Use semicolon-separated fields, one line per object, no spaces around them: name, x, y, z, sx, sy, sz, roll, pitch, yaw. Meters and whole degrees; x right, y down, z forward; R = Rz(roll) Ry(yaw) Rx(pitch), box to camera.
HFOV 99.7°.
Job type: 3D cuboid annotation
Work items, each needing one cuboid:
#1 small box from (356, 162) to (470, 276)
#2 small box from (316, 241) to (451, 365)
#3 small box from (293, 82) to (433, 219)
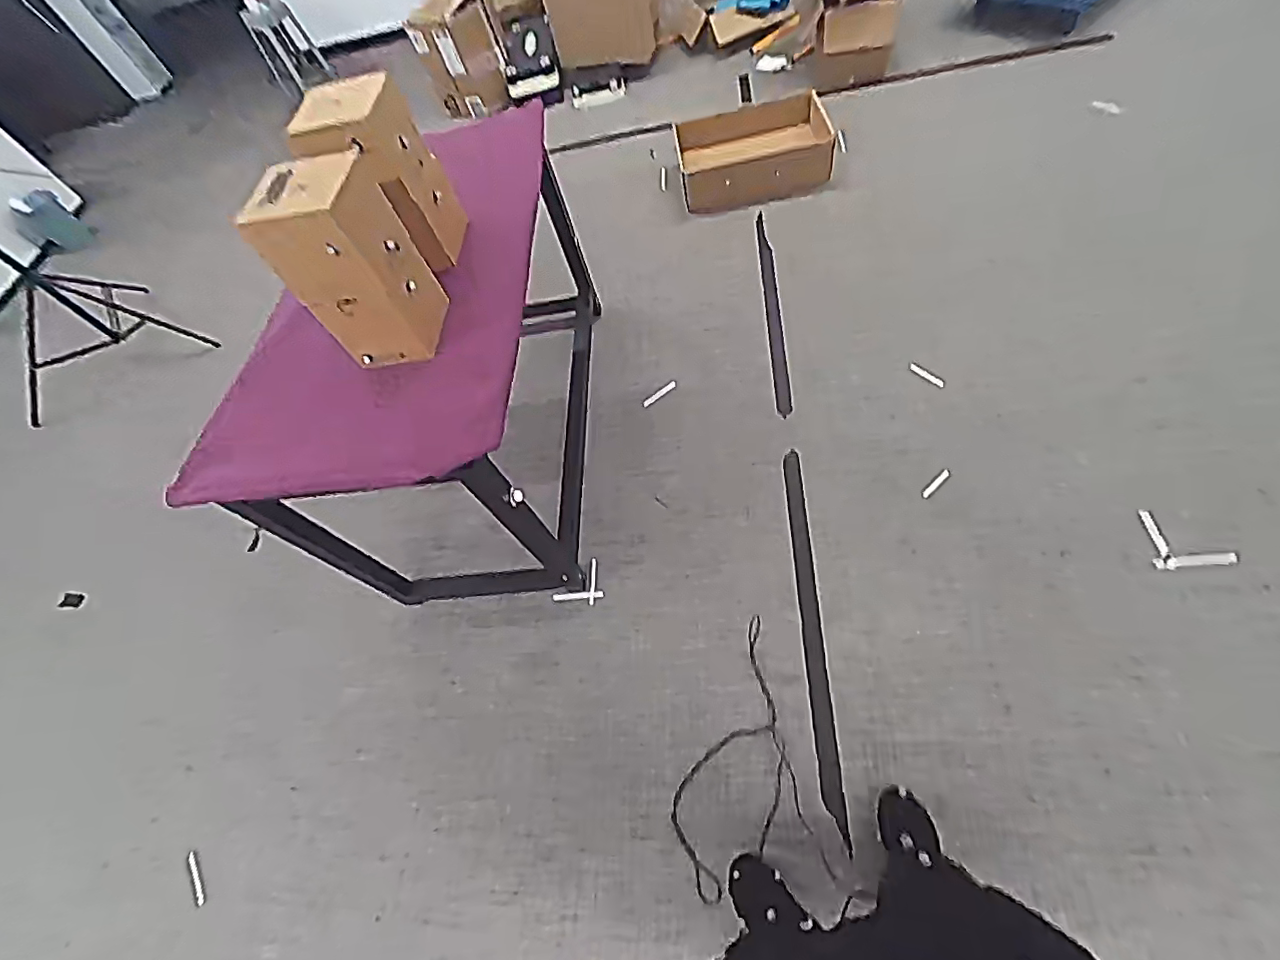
small box;-0.515;-0.595;1.254;0.168;0.176;0.179;-5;60;11
small box;-0.511;-0.351;1.106;0.168;0.176;0.179;-5;58;10
small box;-0.555;-0.671;1.113;0.179;0.176;0.168;-5;59;11
